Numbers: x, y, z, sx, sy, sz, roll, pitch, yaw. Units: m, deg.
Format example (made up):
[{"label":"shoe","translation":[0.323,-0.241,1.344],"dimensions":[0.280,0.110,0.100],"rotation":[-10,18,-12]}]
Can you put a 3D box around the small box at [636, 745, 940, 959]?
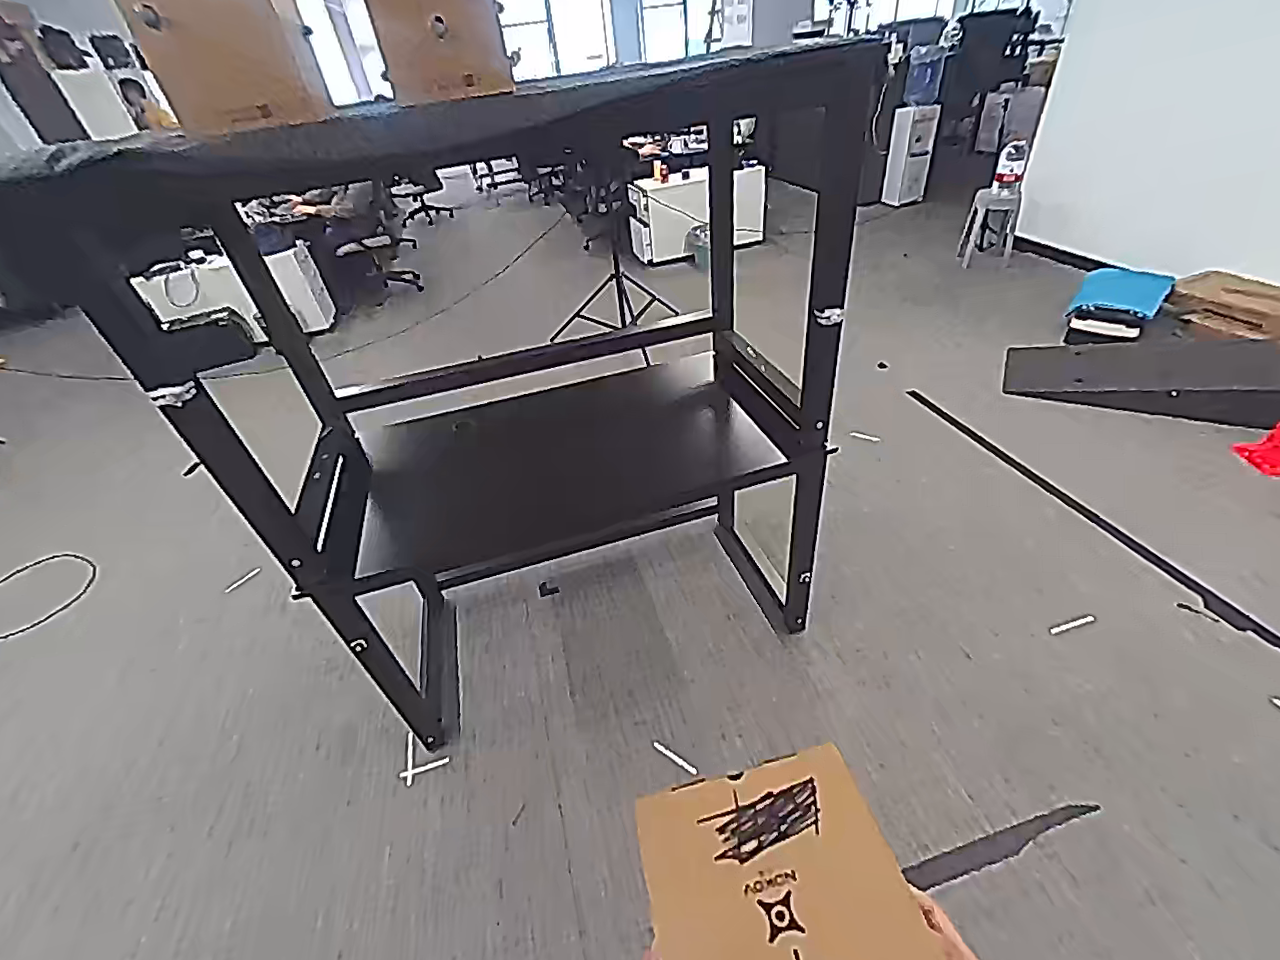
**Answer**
[{"label":"small box","translation":[0.102,0.339,0.398],"dimensions":[0.168,0.176,0.179],"rotation":[-15,33,-3]}]

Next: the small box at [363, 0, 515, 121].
[{"label":"small box","translation":[-0.283,-0.627,0.777],"dimensions":[0.168,0.176,0.179],"rotation":[-14,37,-9]}]
